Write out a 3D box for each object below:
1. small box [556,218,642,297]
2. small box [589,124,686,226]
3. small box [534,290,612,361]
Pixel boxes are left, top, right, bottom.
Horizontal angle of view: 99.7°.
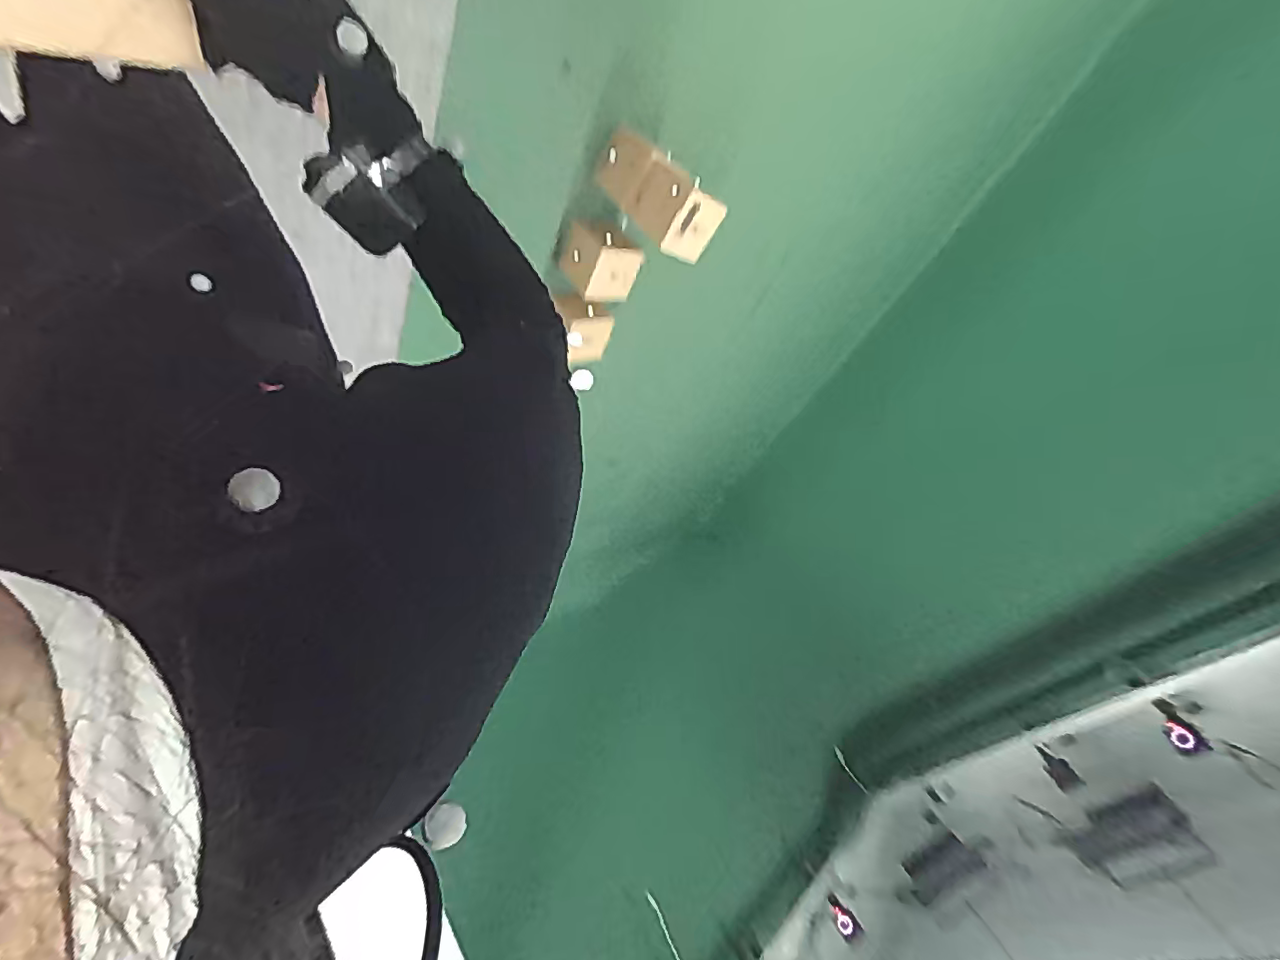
[{"bbox_3d":[-0.132,-0.689,1.677,0.179,0.176,0.168,-18,151,-42],"label":"small box"},{"bbox_3d":[-0.010,-0.861,1.528,0.179,0.176,0.168,-5,141,-51],"label":"small box"},{"bbox_3d":[-0.230,-0.531,1.842,0.179,0.176,0.168,-19,151,-39],"label":"small box"}]
